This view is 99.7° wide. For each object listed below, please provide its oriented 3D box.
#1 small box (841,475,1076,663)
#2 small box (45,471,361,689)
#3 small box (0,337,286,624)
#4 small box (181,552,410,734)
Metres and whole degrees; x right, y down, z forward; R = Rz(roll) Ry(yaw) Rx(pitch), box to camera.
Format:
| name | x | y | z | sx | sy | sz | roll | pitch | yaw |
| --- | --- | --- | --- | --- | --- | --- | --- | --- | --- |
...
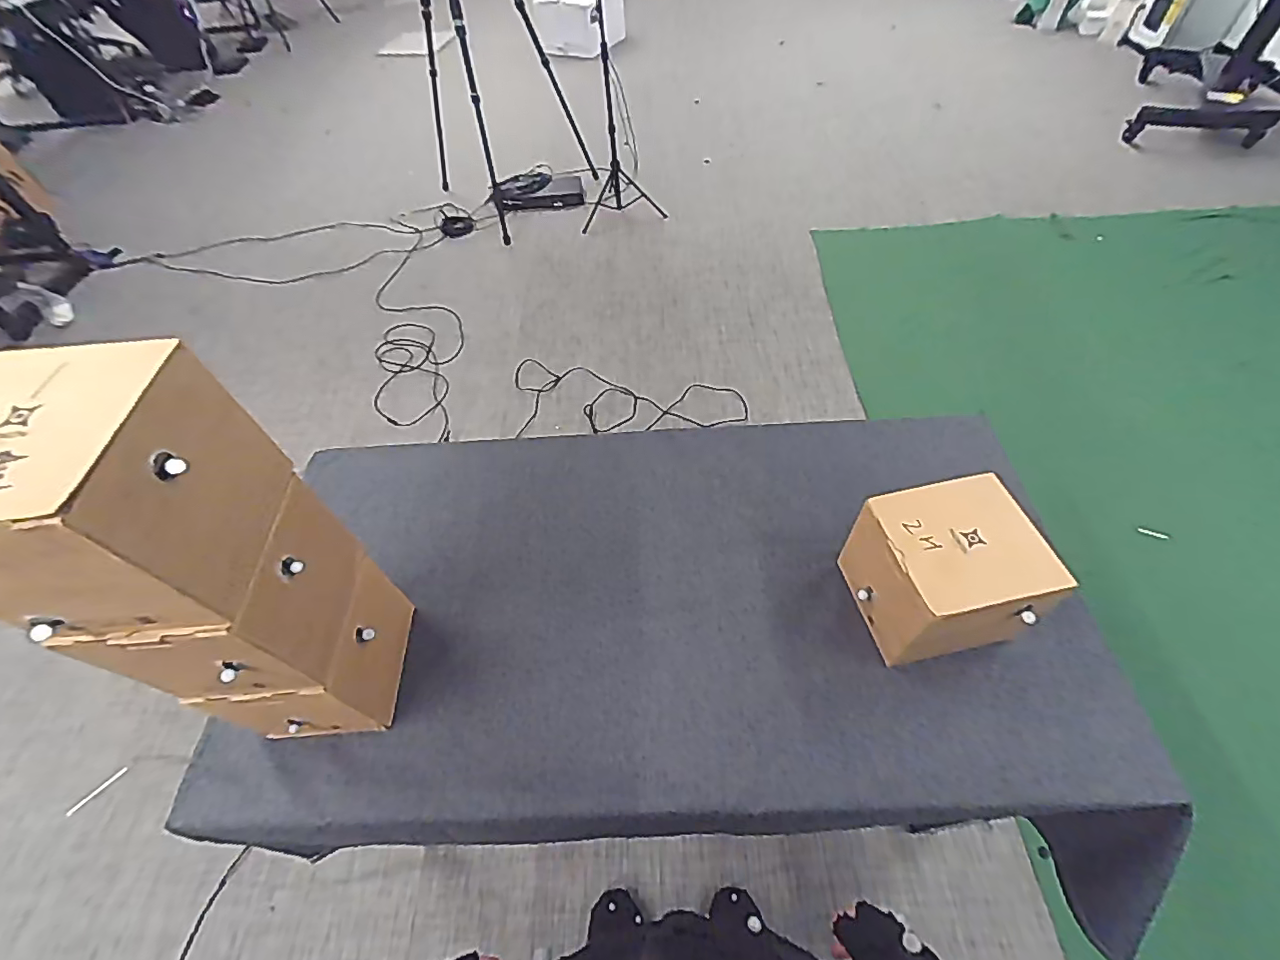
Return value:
| name | x | y | z | sx | sy | sz | roll | pitch | yaw |
| --- | --- | --- | --- | --- | --- | --- | --- | --- | --- |
| small box | 0.390 | 0.119 | 0.703 | 0.179 | 0.176 | 0.168 | -11 | 53 | -3 |
| small box | -0.427 | 0.113 | 0.572 | 0.168 | 0.176 | 0.179 | -3 | 53 | 0 |
| small box | -0.436 | 0.009 | 0.446 | 0.168 | 0.176 | 0.179 | -4 | 53 | -1 |
| small box | -0.420 | 0.213 | 0.700 | 0.168 | 0.176 | 0.179 | -5 | 53 | 1 |
